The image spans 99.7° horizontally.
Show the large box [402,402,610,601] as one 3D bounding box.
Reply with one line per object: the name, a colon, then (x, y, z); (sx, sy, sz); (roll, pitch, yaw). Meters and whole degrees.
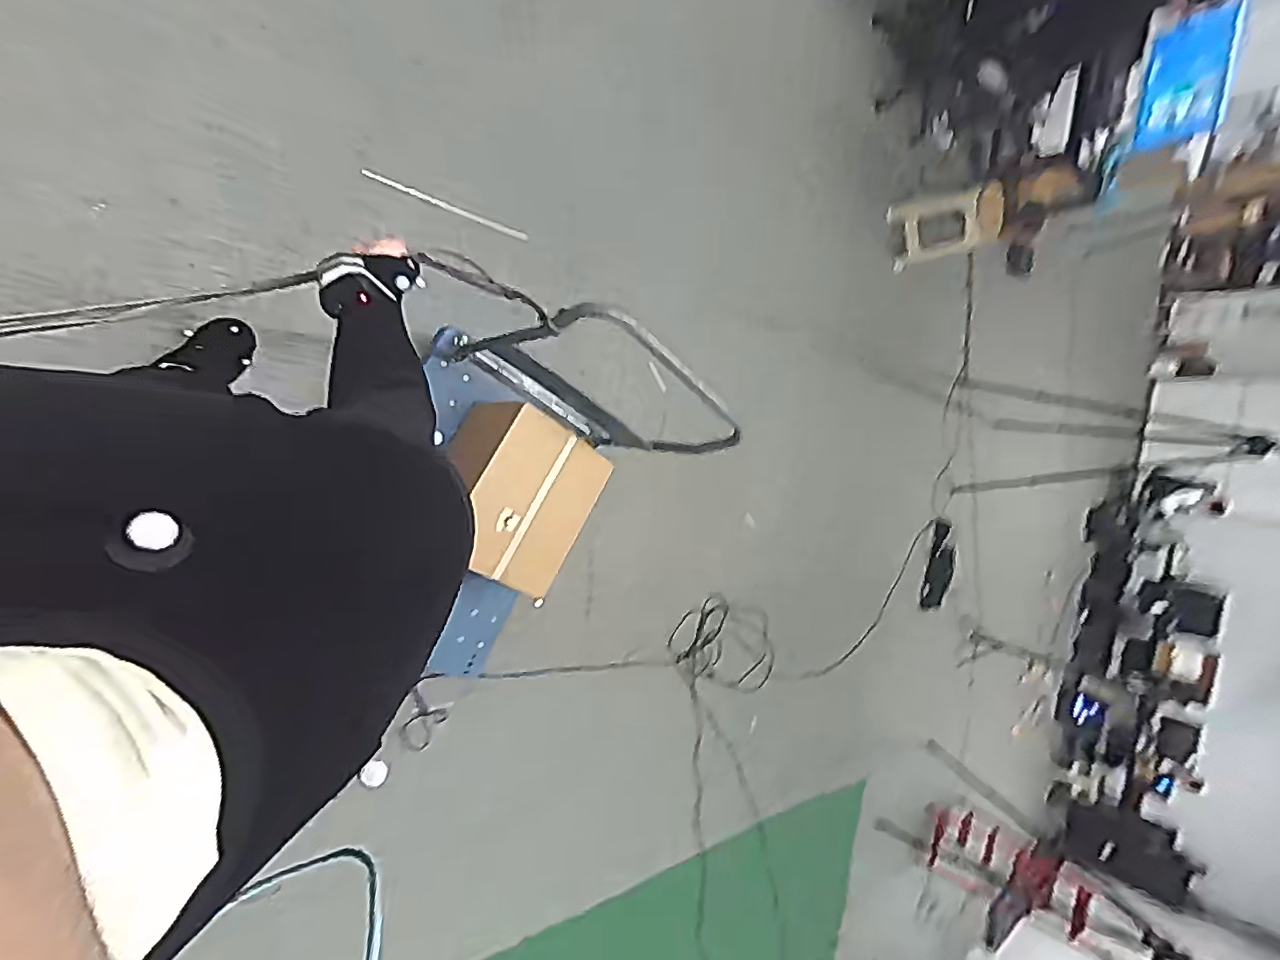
large box: (-0.355, 0.043, 1.442); (0.320, 0.320, 0.408); (38, 75, -36)
